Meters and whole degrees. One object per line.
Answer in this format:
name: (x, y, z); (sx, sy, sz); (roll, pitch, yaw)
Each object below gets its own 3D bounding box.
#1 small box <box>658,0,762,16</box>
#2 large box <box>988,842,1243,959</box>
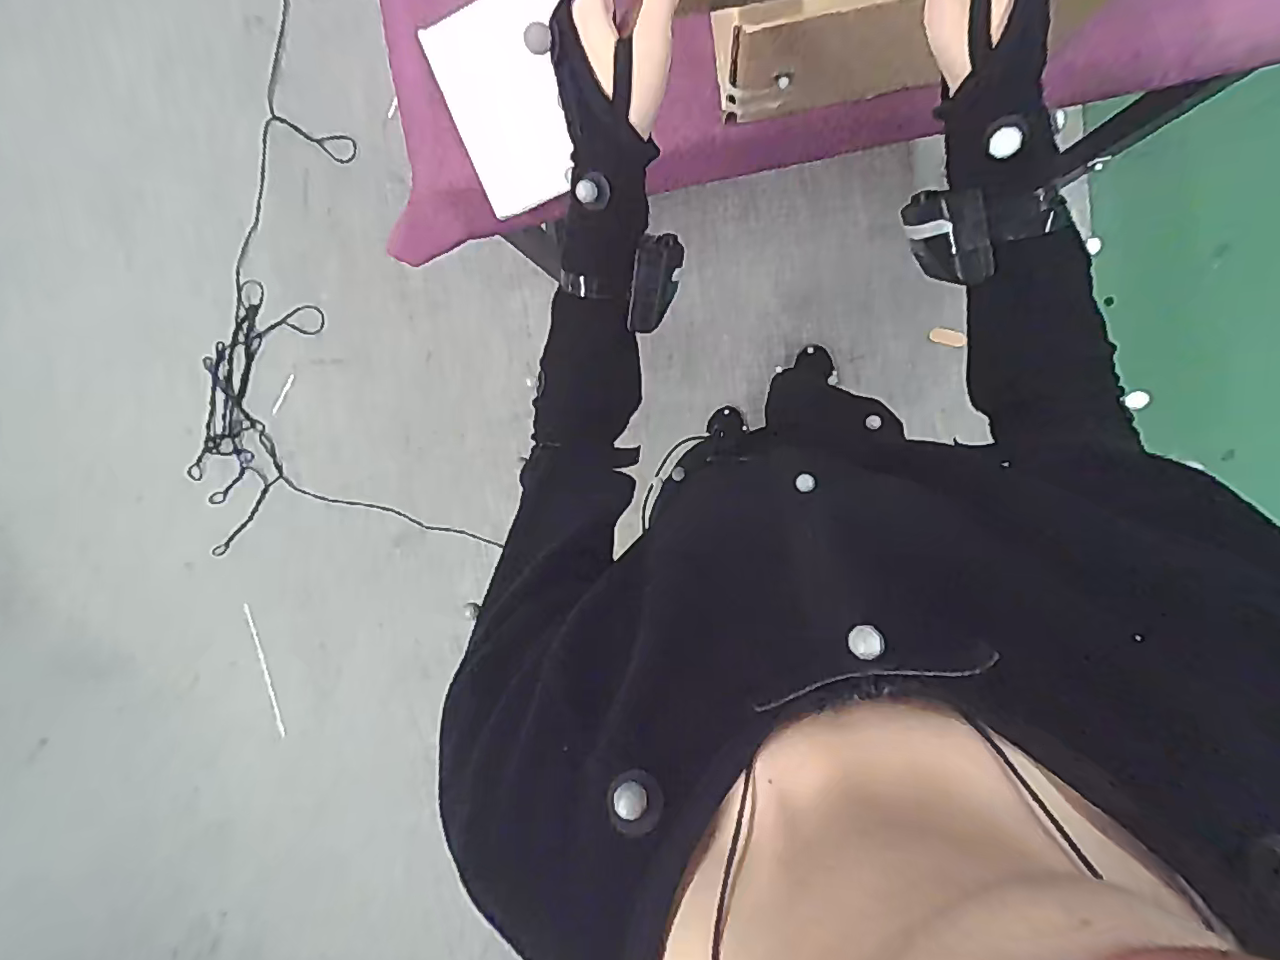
small box: (0.077, -0.396, 0.297); (0.168, 0.176, 0.179); (-7, 113, 4)
large box: (1.208, 1.218, 1.373); (0.408, 0.320, 0.320); (-23, 95, 9)
